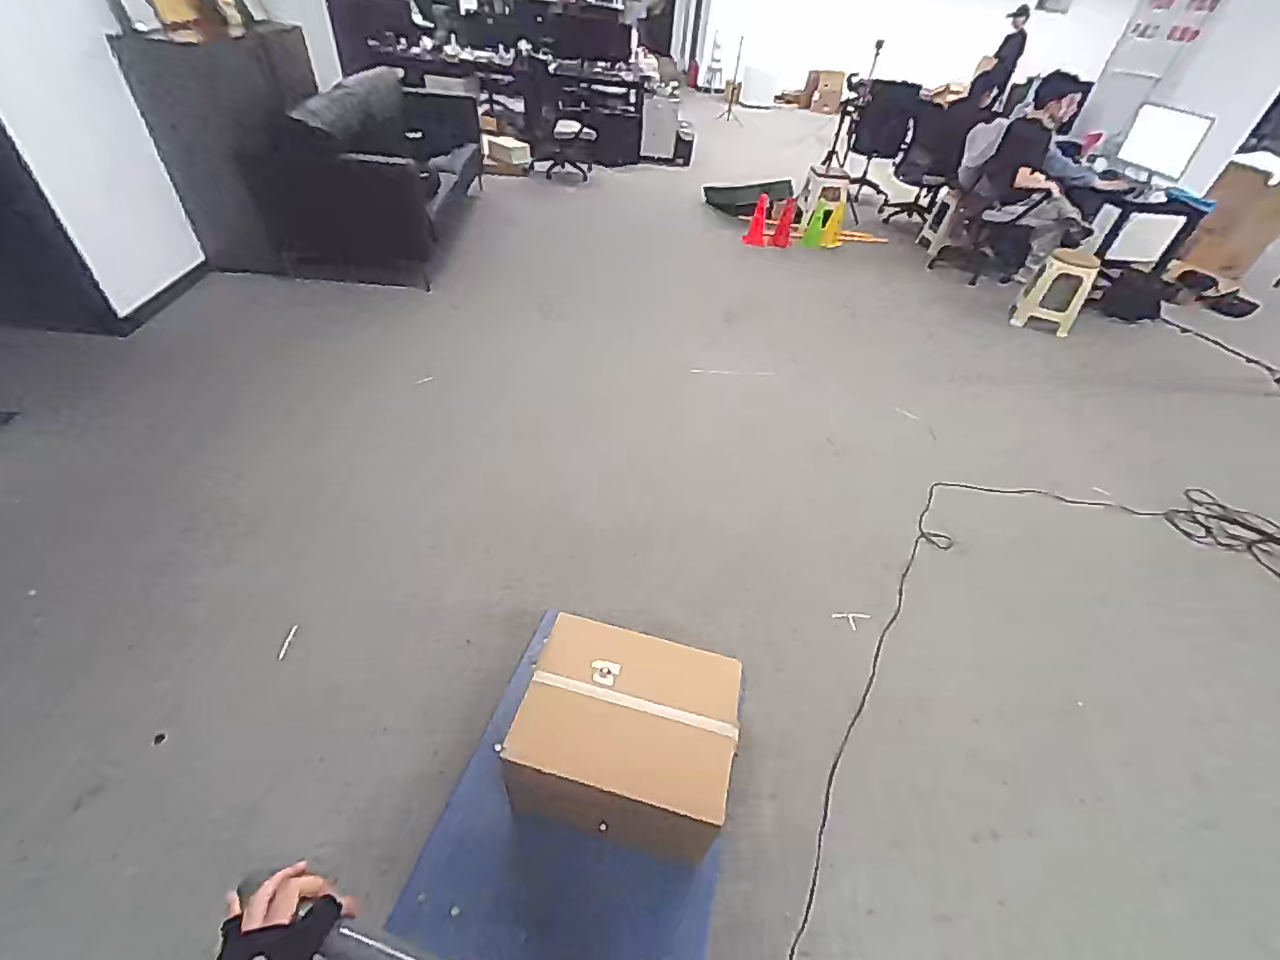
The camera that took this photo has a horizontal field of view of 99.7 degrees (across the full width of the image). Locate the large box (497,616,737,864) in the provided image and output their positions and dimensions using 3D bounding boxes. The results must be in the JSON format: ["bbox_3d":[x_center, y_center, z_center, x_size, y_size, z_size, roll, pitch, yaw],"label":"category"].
[{"bbox_3d":[-0.033,0.542,1.134,0.408,0.320,0.320,13,42,8],"label":"large box"}]
